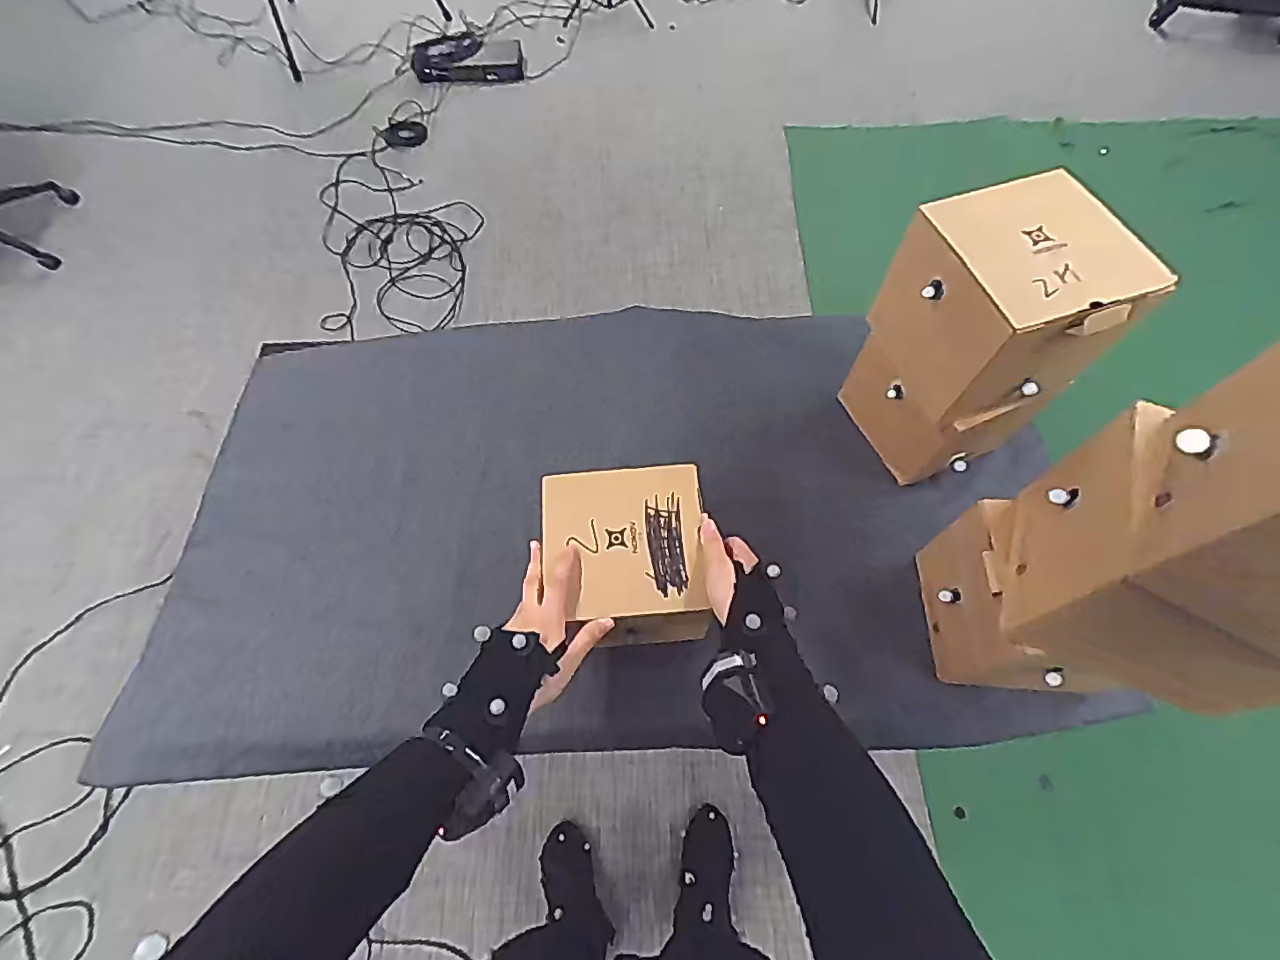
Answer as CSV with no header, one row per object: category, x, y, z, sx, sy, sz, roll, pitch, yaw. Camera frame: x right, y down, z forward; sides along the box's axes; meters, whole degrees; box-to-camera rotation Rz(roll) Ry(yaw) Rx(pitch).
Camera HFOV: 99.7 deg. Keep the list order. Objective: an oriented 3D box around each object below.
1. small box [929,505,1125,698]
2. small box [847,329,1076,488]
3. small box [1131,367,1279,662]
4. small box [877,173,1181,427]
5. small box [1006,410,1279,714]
small box,0.447,0.141,0.602,0.179,0.176,0.168,3,61,4
small box,0.412,-0.117,0.734,0.168,0.176,0.179,-23,67,-6
small box,0.441,0.018,0.296,0.179,0.176,0.168,32,66,17
small box,0.389,-0.186,0.586,0.168,0.176,0.179,-16,66,-3
small box,0.446,0.077,0.451,0.179,0.176,0.168,22,64,13
